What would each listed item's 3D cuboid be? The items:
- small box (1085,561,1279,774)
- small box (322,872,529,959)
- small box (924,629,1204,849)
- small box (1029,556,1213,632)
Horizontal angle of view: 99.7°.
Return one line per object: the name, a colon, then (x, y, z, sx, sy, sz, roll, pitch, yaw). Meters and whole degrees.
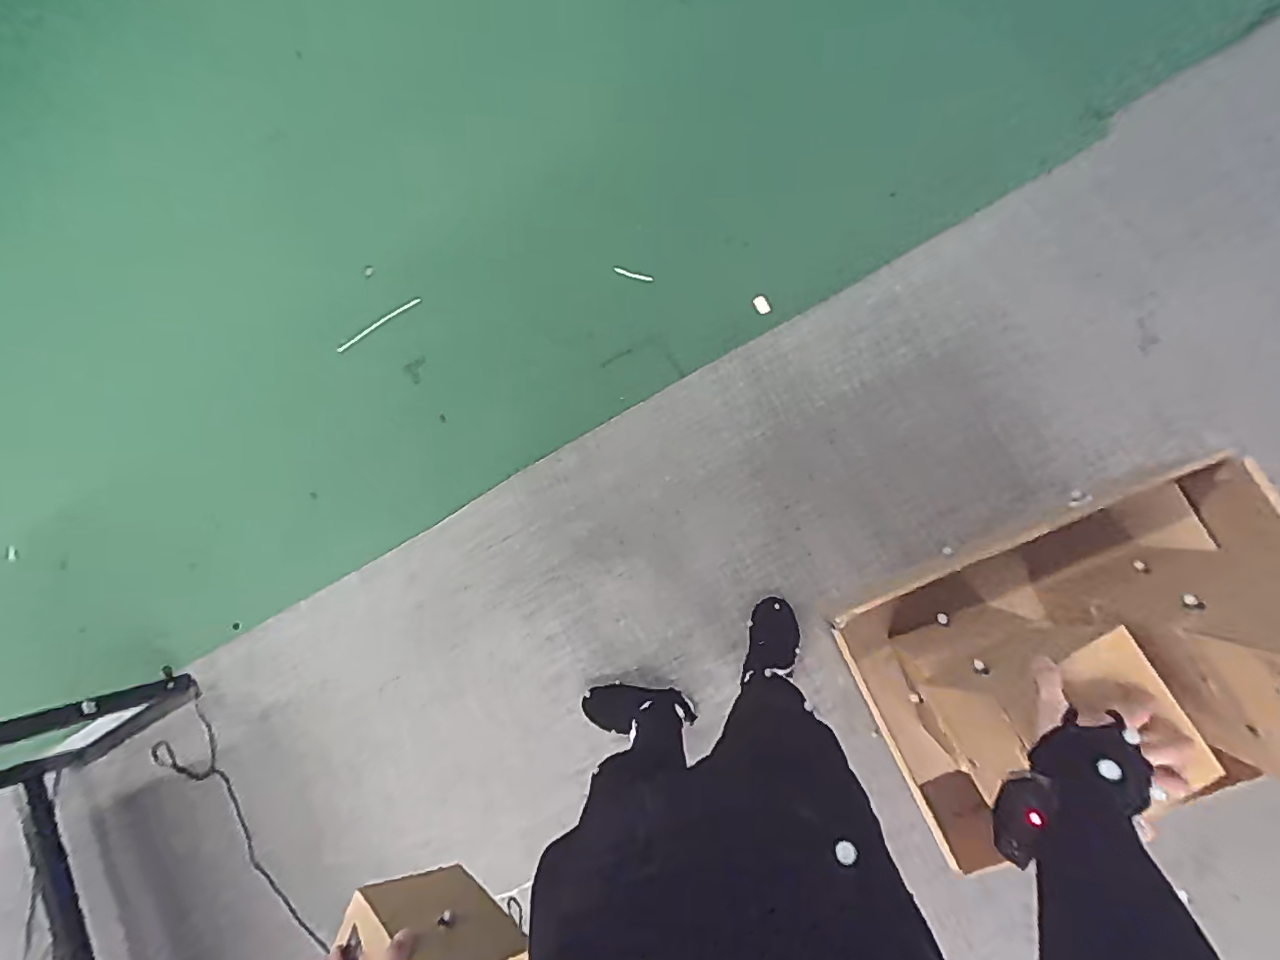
small box: (0.702, 0.207, 0.646, 0.179, 0.176, 0.168, -27, 80, 9)
small box: (-0.273, 0.618, 0.659, 0.179, 0.176, 0.168, 13, 76, 36)
small box: (0.480, 0.295, 0.652, 0.179, 0.176, 0.168, -23, 75, -8)
small box: (0.739, 0.220, 0.804, 0.179, 0.176, 0.168, -26, 80, 9)
